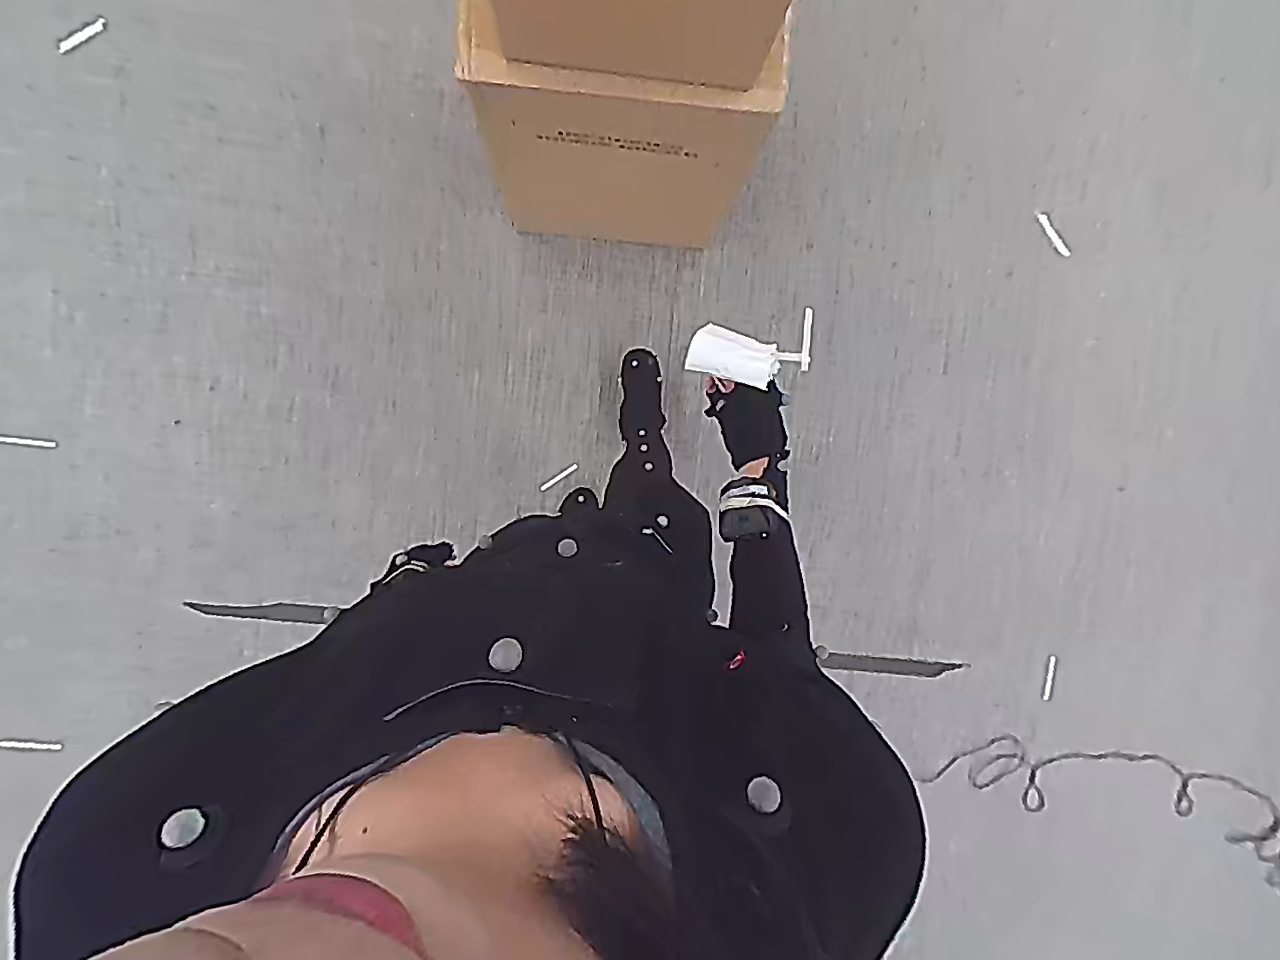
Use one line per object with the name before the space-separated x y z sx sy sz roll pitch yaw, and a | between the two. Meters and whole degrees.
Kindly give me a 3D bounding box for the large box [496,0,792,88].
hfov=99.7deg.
large box | 0.009 -0.787 0.710 0.408 0.320 0.320 3 94 -6
